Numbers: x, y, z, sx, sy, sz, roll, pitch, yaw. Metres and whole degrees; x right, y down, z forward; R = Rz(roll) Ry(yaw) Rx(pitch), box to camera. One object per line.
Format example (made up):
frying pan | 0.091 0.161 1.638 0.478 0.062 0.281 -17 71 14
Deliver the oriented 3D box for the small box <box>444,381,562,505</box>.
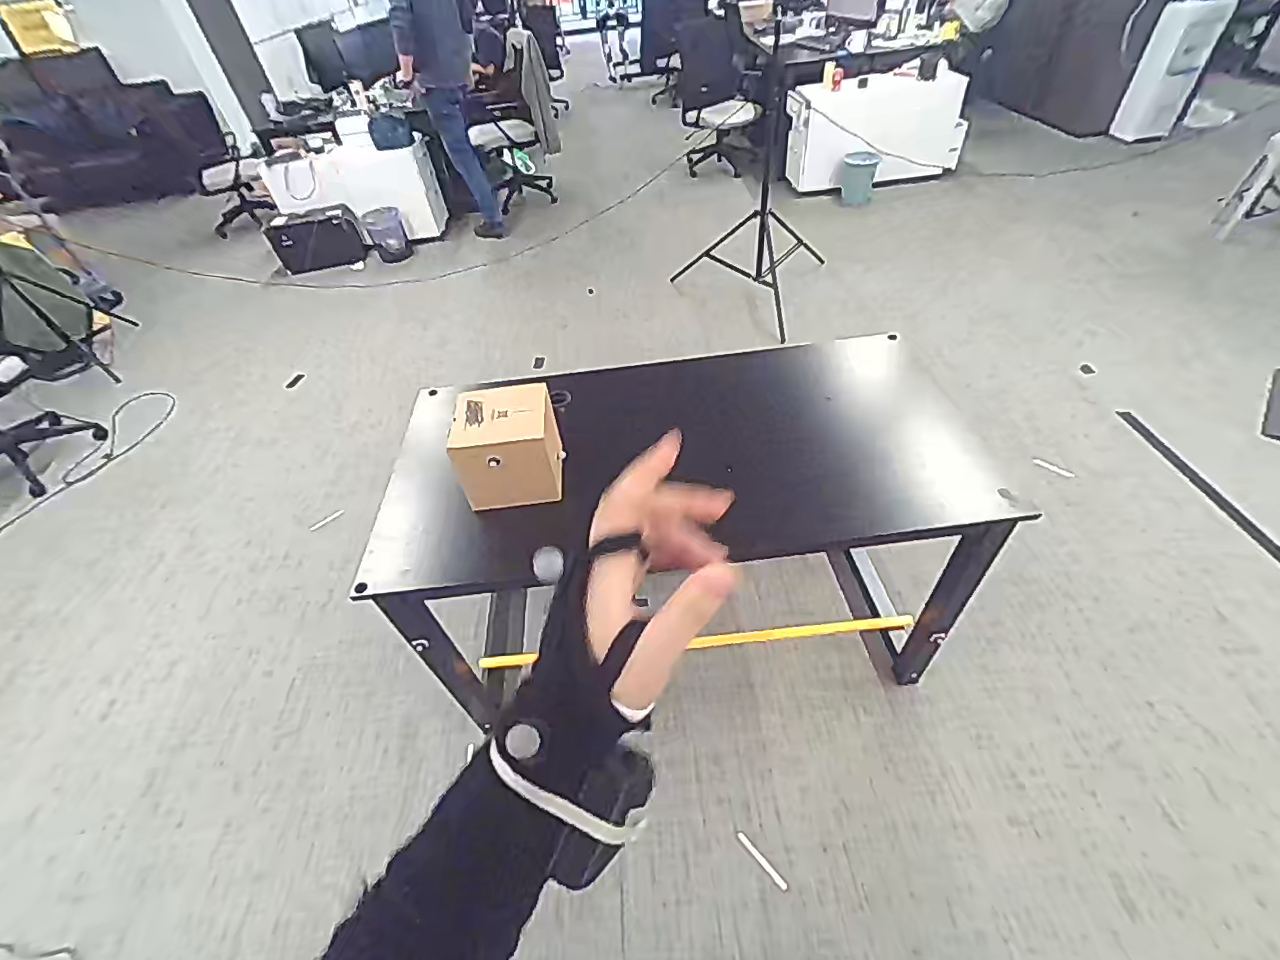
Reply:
small box | -0.254 -0.068 1.049 0.179 0.176 0.168 -7 46 0
